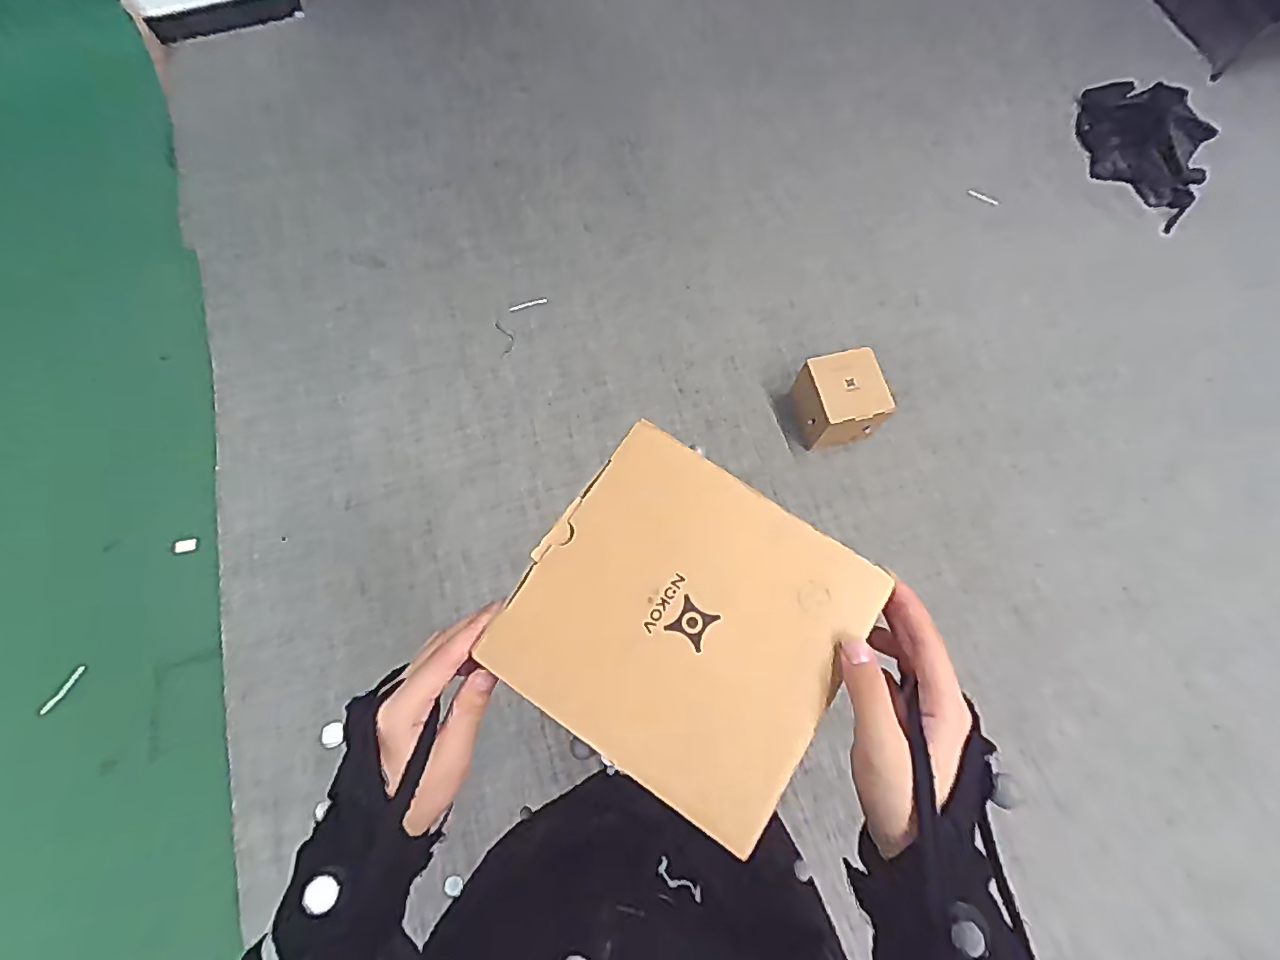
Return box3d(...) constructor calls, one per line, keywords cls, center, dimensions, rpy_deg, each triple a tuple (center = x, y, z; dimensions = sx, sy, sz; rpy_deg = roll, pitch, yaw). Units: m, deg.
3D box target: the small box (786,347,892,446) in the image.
box3d(cls="small box", center=(0.482, -0.197, 1.337), dimensions=(0.168, 0.176, 0.179), rpy_deg=(-12, 71, -6))
